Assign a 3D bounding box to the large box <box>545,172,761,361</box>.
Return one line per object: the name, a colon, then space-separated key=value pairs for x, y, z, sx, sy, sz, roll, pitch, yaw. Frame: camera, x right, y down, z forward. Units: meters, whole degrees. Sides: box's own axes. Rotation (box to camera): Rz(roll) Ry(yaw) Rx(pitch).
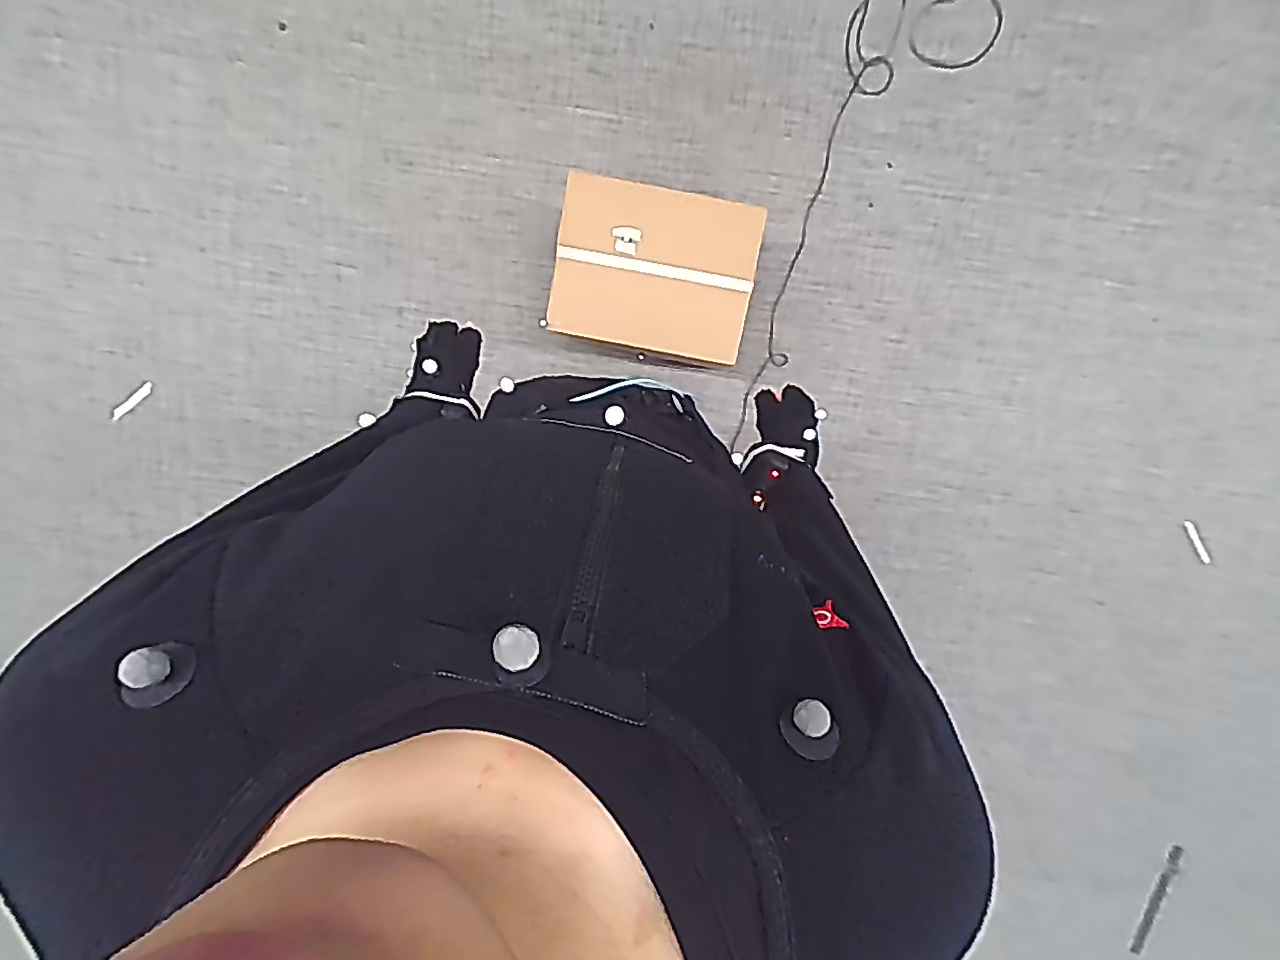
large box: x=0.028 y=-0.461 z=1.248 sx=0.408 sy=0.320 sz=0.320 roll=11 pitch=100 yaw=0
